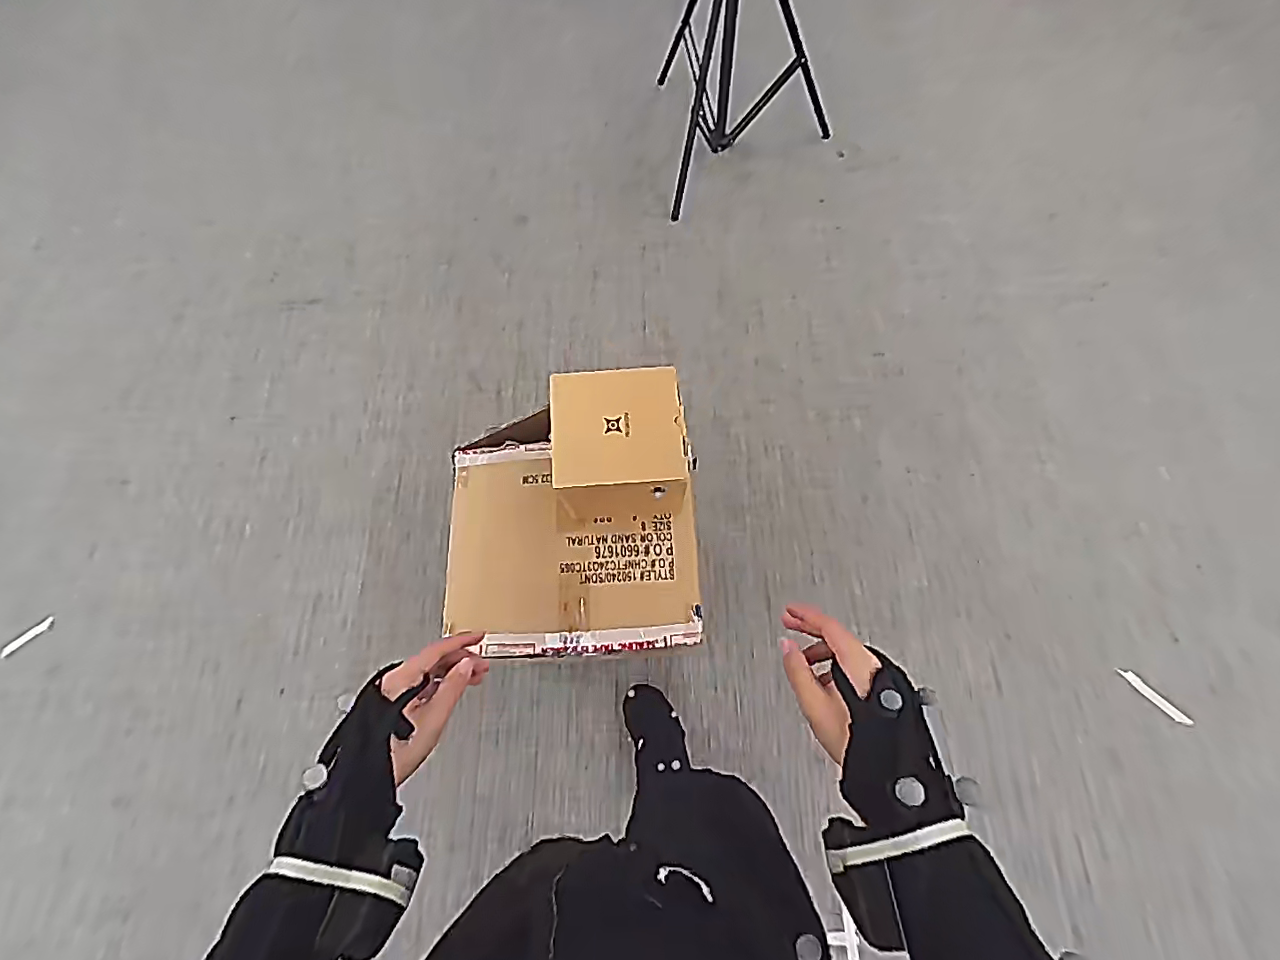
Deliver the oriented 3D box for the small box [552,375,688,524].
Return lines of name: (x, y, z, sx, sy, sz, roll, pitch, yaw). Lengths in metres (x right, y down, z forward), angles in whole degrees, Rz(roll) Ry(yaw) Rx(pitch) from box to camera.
small box: (-0.027, -0.036, 0.792, 0.179, 0.176, 0.168, -4, 72, -1)
